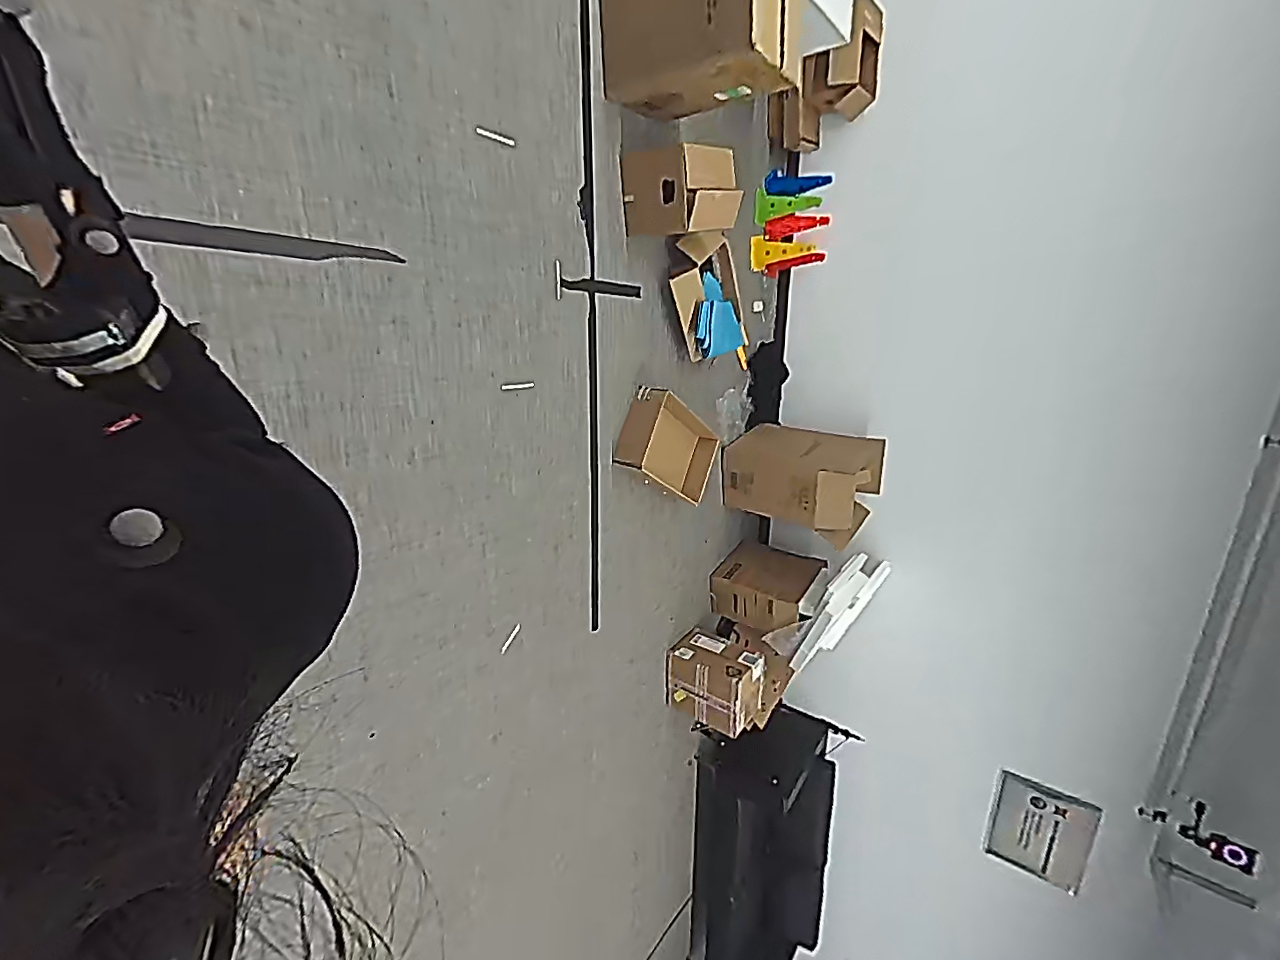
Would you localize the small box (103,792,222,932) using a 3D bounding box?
[{"bbox_3d":[-1.131,0.893,1.283,0.168,0.176,0.179,-16,112,-55],"label":"small box"}]
